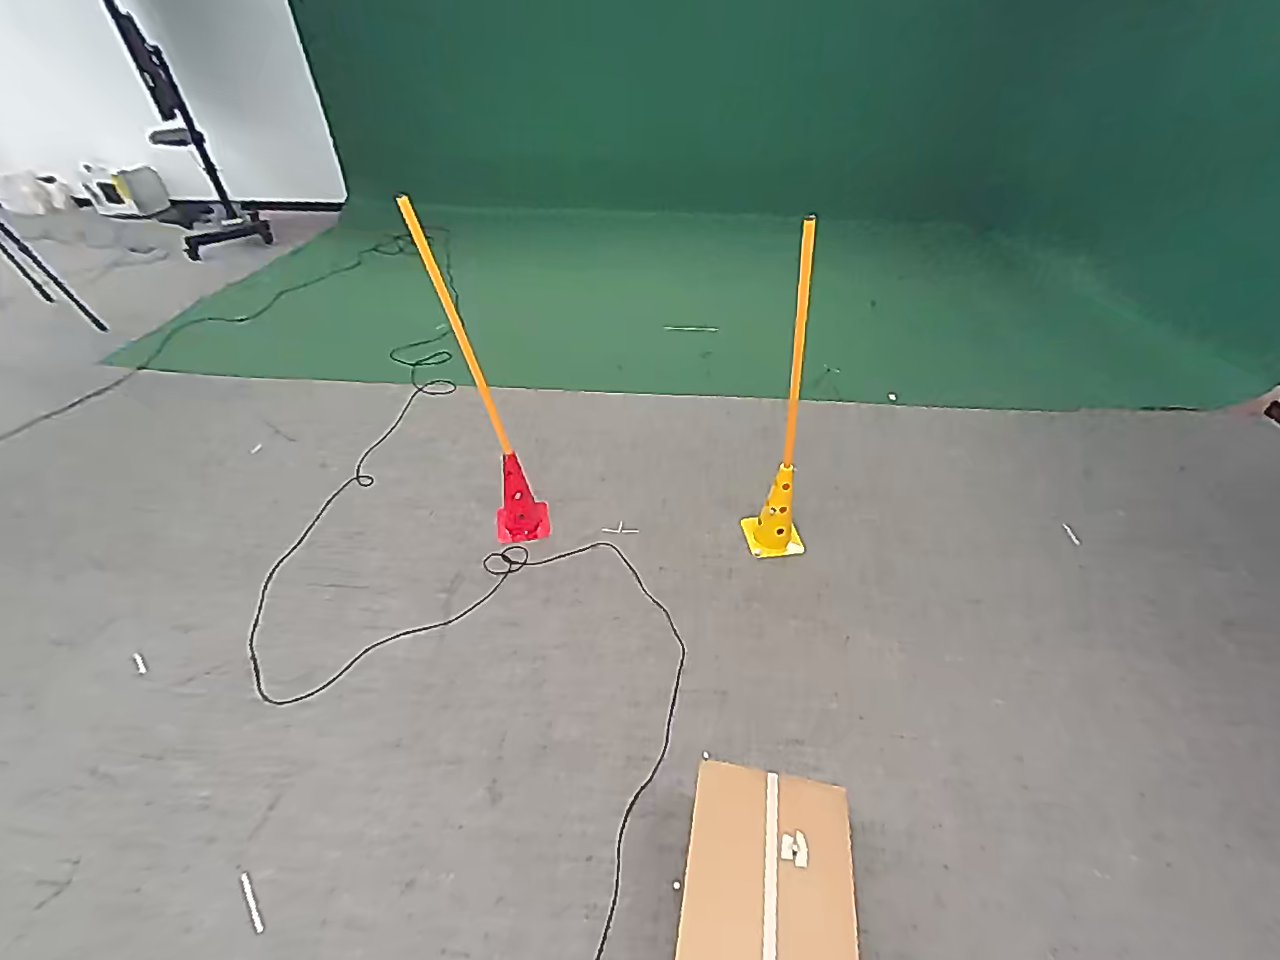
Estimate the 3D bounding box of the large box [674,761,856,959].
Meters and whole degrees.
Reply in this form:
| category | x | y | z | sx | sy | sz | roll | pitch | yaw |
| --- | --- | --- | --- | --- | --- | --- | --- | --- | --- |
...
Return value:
| category | x | y | z | sx | sy | sz | roll | pitch | yaw |
| --- | --- | --- | --- | --- | --- | --- | --- | --- | --- |
| large box | 0.240 | 0.875 | 1.110 | 0.320 | 0.320 | 0.408 | 8 | 40 | 9 |
